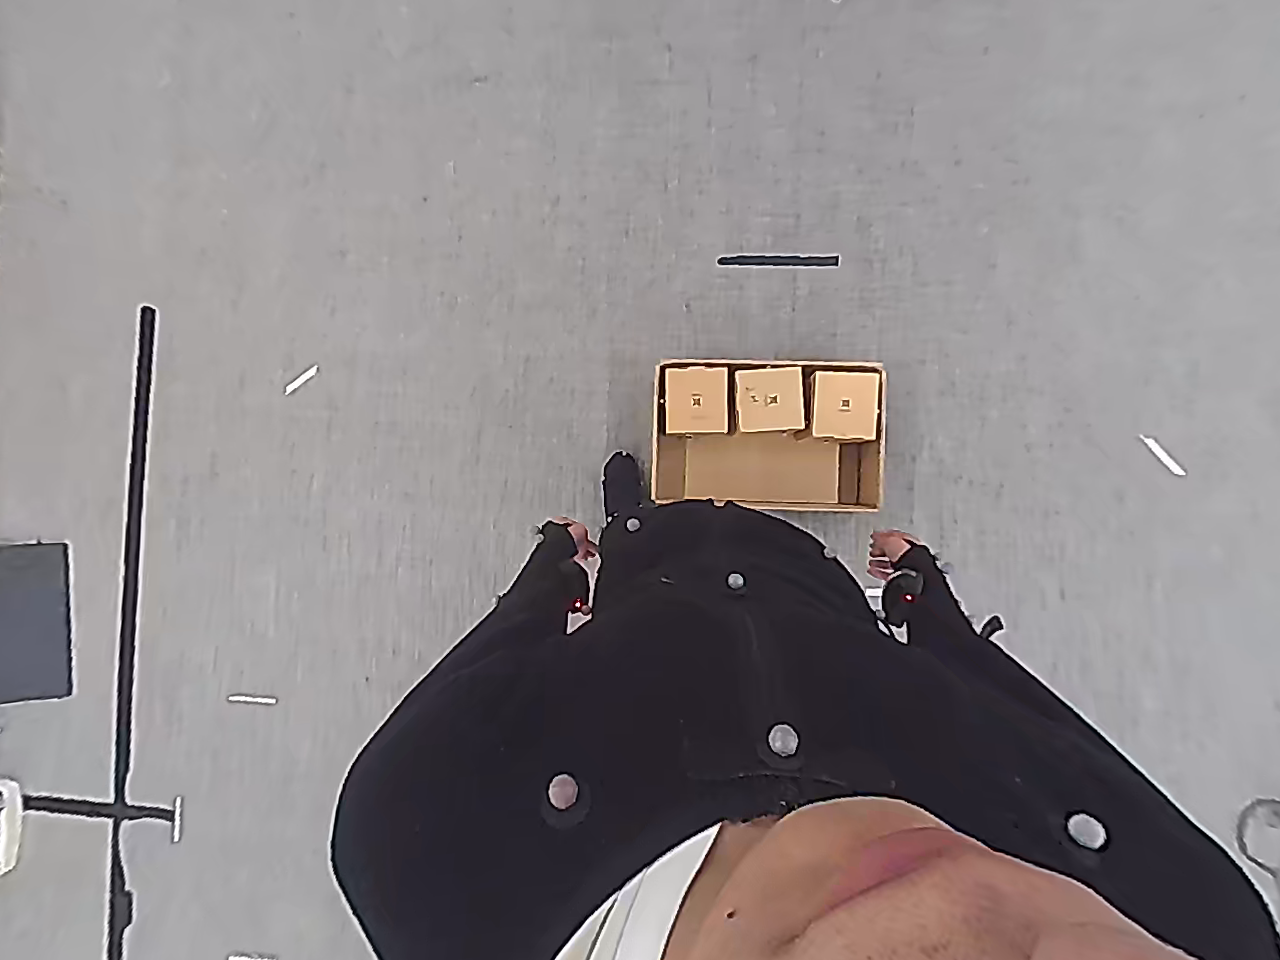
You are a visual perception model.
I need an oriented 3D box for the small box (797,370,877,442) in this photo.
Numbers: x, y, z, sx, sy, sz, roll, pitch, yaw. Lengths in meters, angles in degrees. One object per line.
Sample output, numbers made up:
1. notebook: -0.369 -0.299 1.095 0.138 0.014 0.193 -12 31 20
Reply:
1. small box: 0.539 -0.201 1.495 0.168 0.176 0.179 2 92 4
